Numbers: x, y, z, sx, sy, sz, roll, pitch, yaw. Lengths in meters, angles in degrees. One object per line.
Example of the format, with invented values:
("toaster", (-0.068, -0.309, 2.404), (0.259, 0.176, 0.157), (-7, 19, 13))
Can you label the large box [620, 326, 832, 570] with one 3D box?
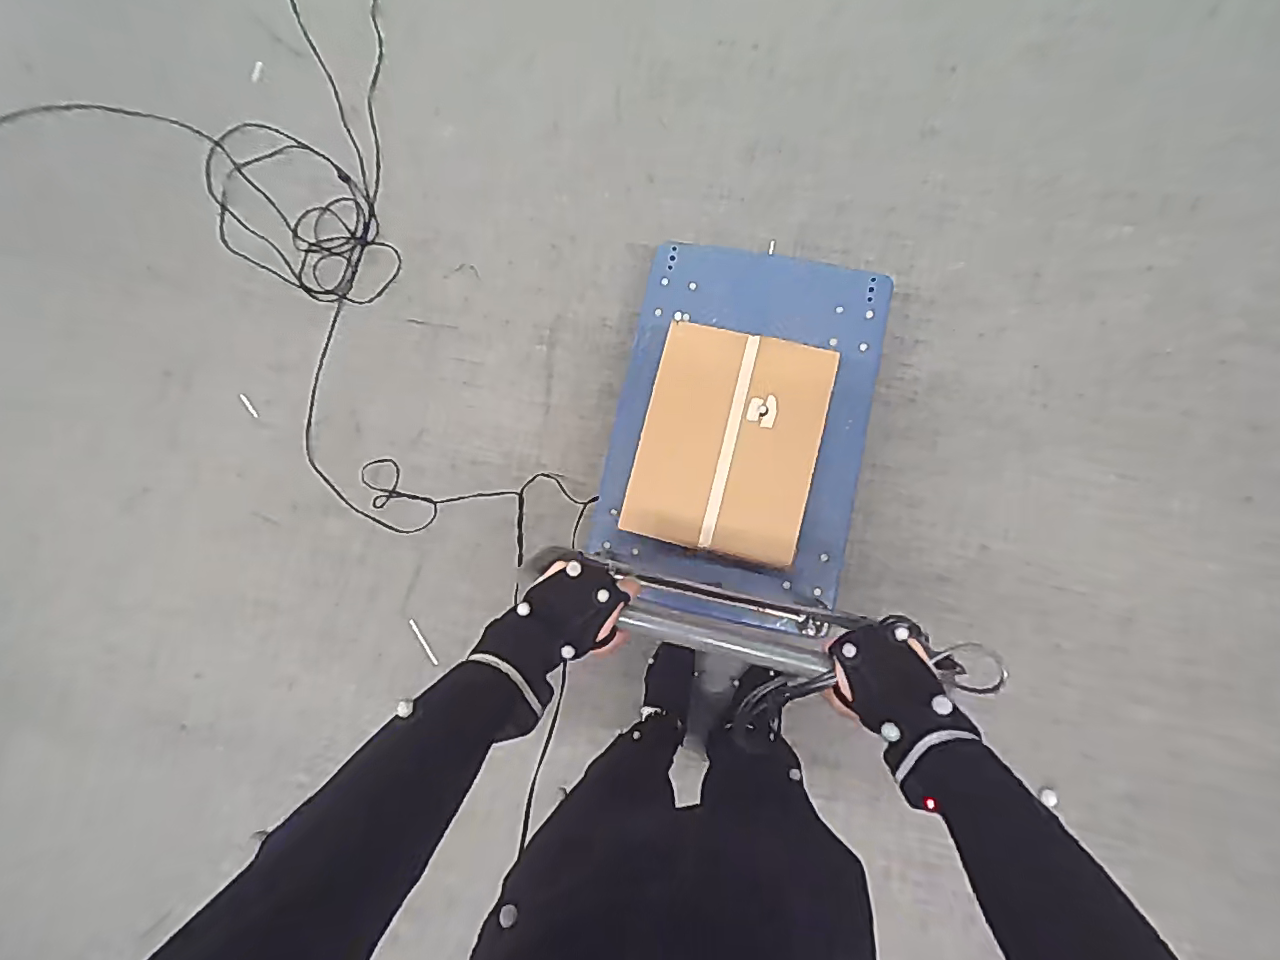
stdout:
("large box", (0.171, -0.046, 1.120), (0.320, 0.320, 0.408), (14, 84, 7))
